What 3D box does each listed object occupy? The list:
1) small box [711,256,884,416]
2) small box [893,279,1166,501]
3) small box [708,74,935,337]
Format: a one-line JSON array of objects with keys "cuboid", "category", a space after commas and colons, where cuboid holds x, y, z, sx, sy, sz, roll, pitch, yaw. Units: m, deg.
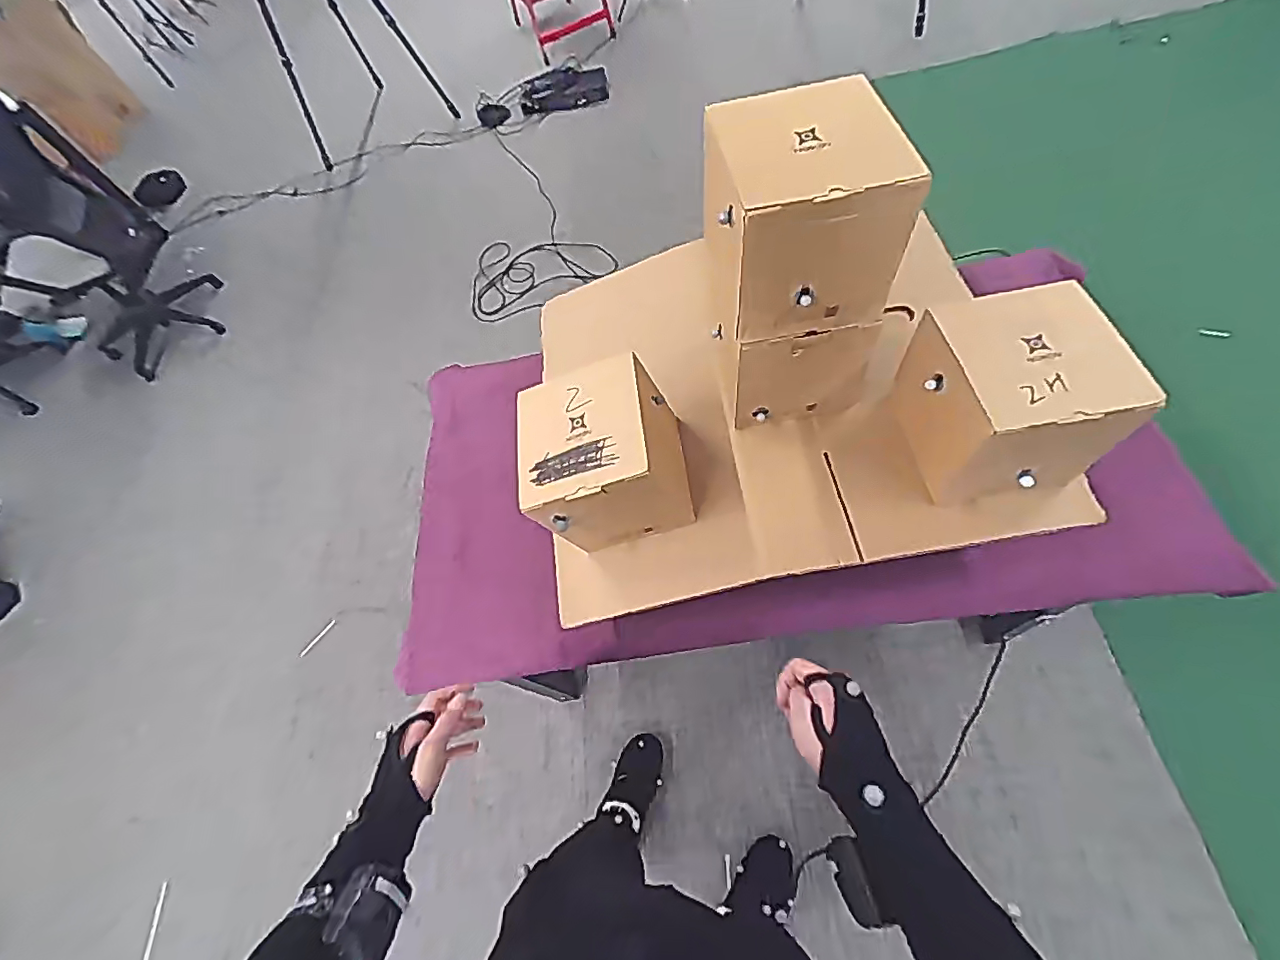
[{"cuboid": [0.191, -0.200, 0.712, 0.168, 0.176, 0.179, -10, 60, 1], "category": "small box"}, {"cuboid": [0.420, -0.097, 0.627, 0.168, 0.176, 0.179, -10, 62, 3], "category": "small box"}, {"cuboid": [0.169, -0.283, 0.574, 0.168, 0.176, 0.179, -11, 62, 1], "category": "small box"}]
